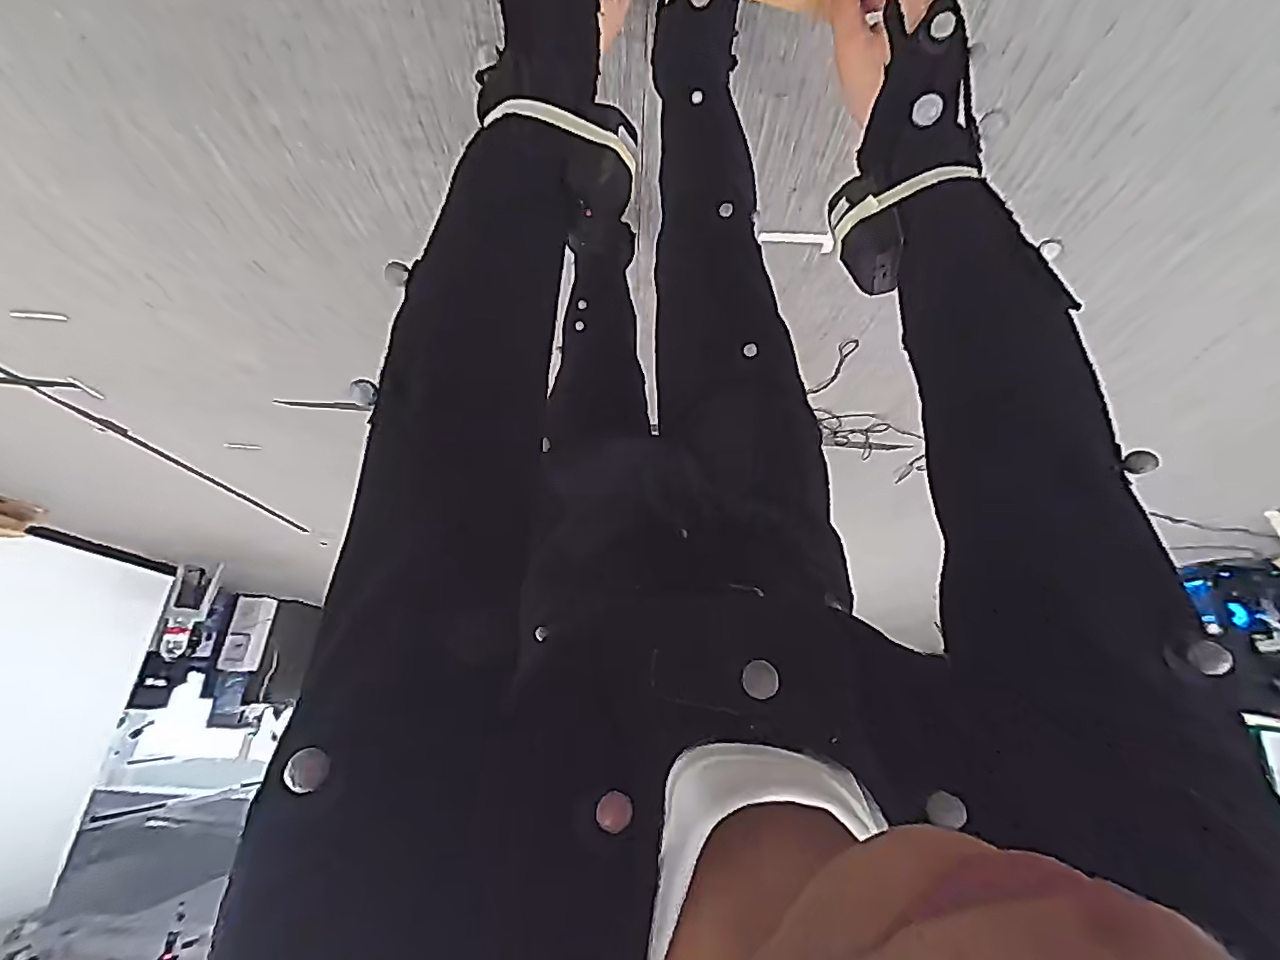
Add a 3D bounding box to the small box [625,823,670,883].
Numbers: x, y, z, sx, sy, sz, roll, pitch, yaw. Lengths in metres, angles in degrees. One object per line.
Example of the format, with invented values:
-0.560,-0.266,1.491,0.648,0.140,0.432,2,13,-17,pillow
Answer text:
0.033,1.523,2.216,0.179,0.176,0.168,3,157,3,small box
